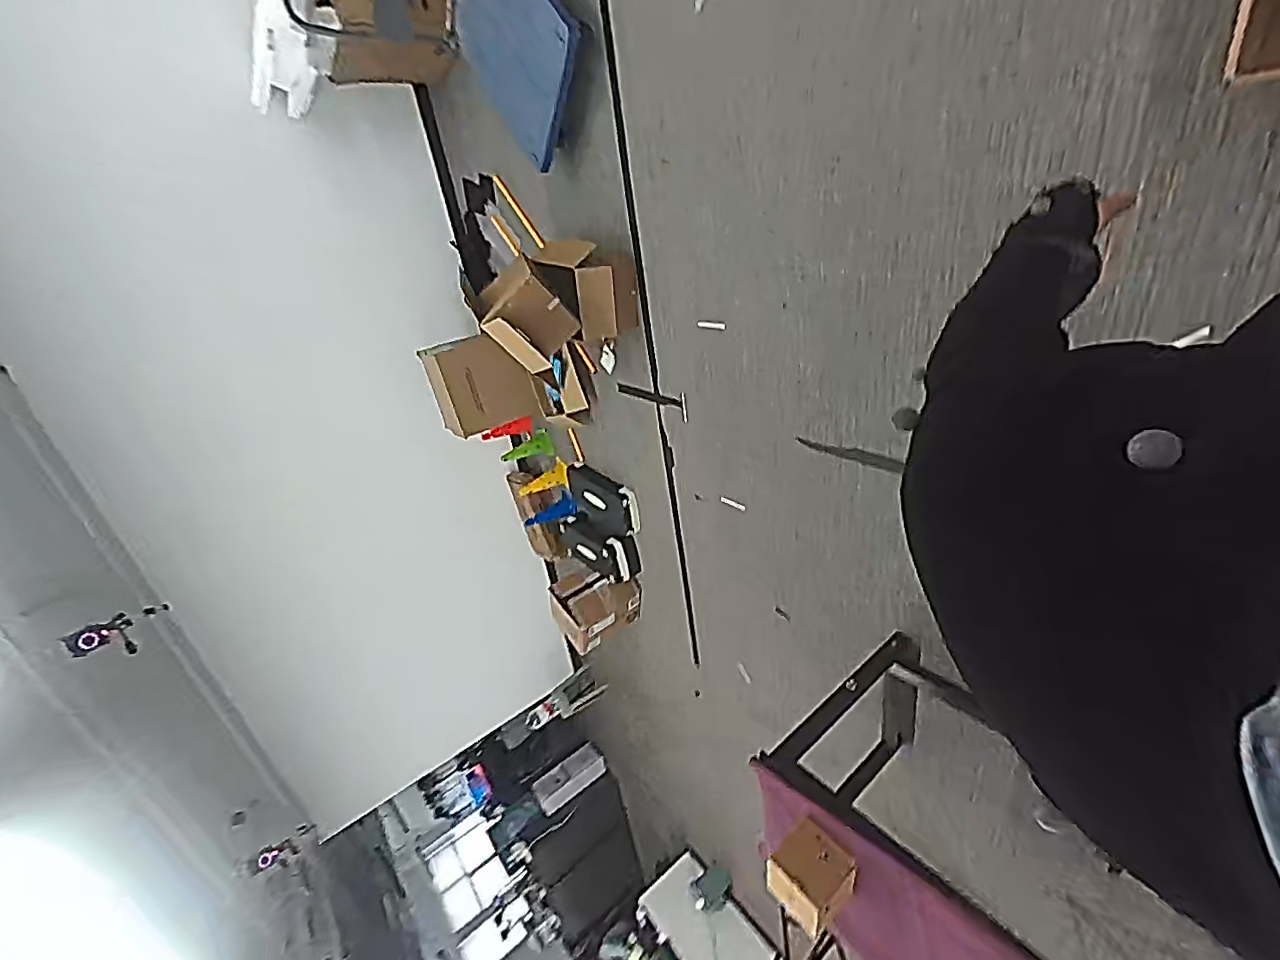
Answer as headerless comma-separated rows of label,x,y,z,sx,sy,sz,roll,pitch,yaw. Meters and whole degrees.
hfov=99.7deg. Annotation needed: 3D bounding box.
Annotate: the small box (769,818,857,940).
small box,0.470,1.081,1.474,0.168,0.176,0.179,29,136,46
